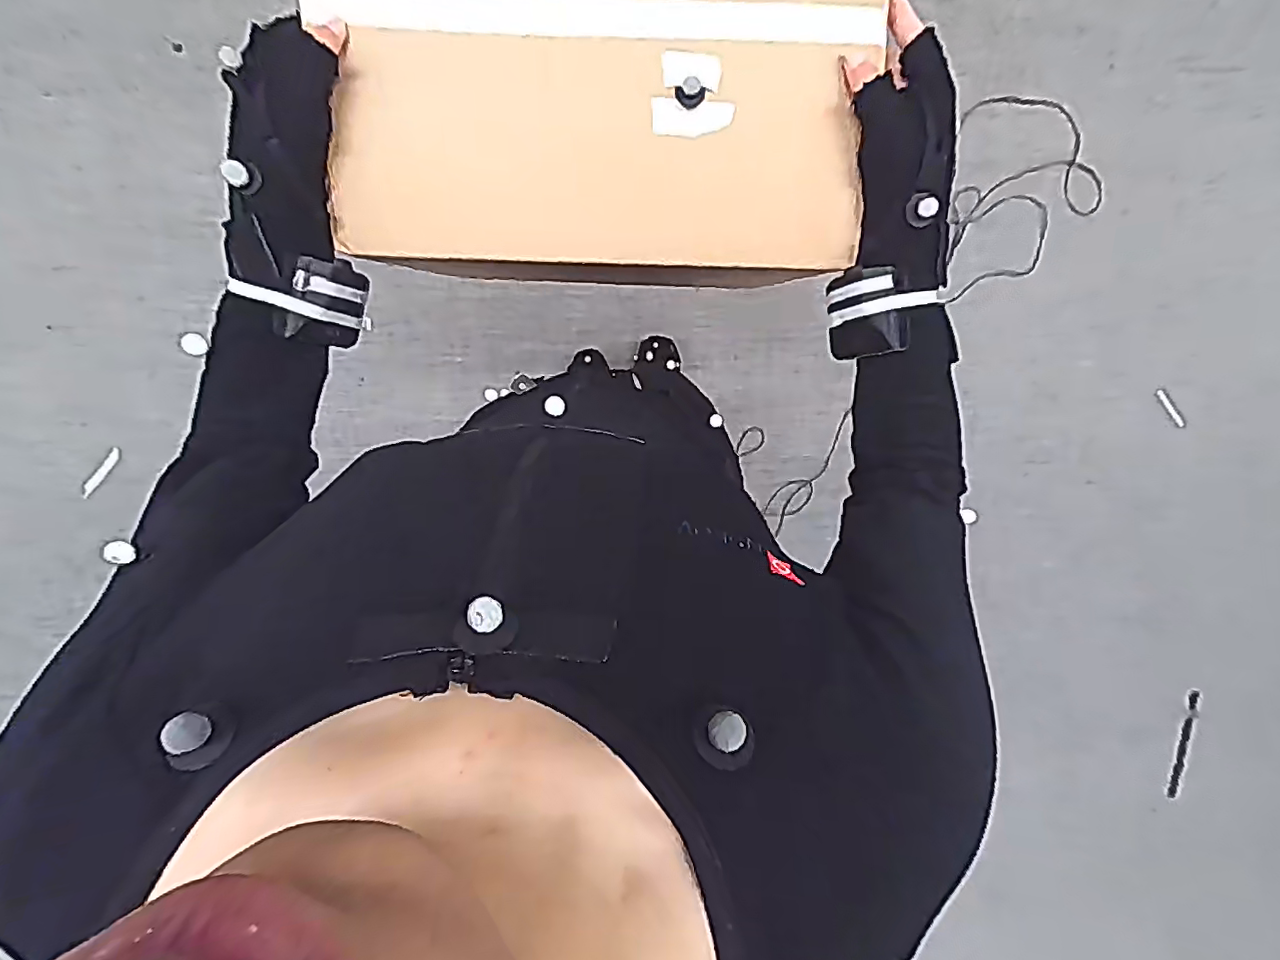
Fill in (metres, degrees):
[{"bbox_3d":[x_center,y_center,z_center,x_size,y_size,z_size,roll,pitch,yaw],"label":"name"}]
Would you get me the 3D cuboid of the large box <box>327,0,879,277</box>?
[{"bbox_3d":[-0.031,-0.375,0.531,0.408,0.320,0.320,1,107,-2],"label":"large box"}]
